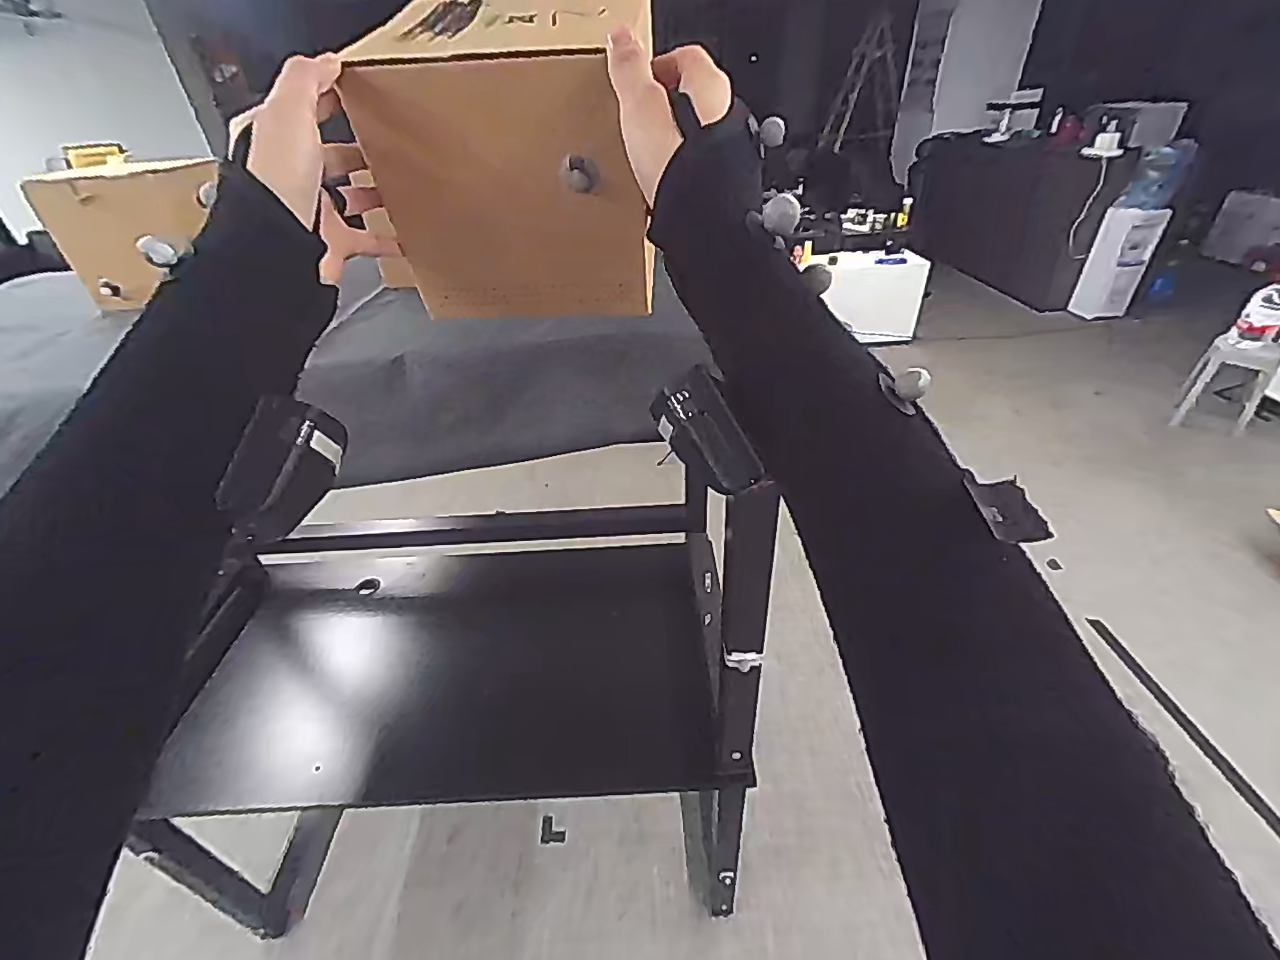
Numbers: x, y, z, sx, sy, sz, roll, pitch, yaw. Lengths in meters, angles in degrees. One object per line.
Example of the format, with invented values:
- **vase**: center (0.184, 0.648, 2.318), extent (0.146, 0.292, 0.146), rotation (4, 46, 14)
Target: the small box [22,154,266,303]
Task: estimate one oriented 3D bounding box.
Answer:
- **small box**: center (-0.695, -0.365, 0.791), extent (0.168, 0.176, 0.179), rotation (-6, 36, -3)
